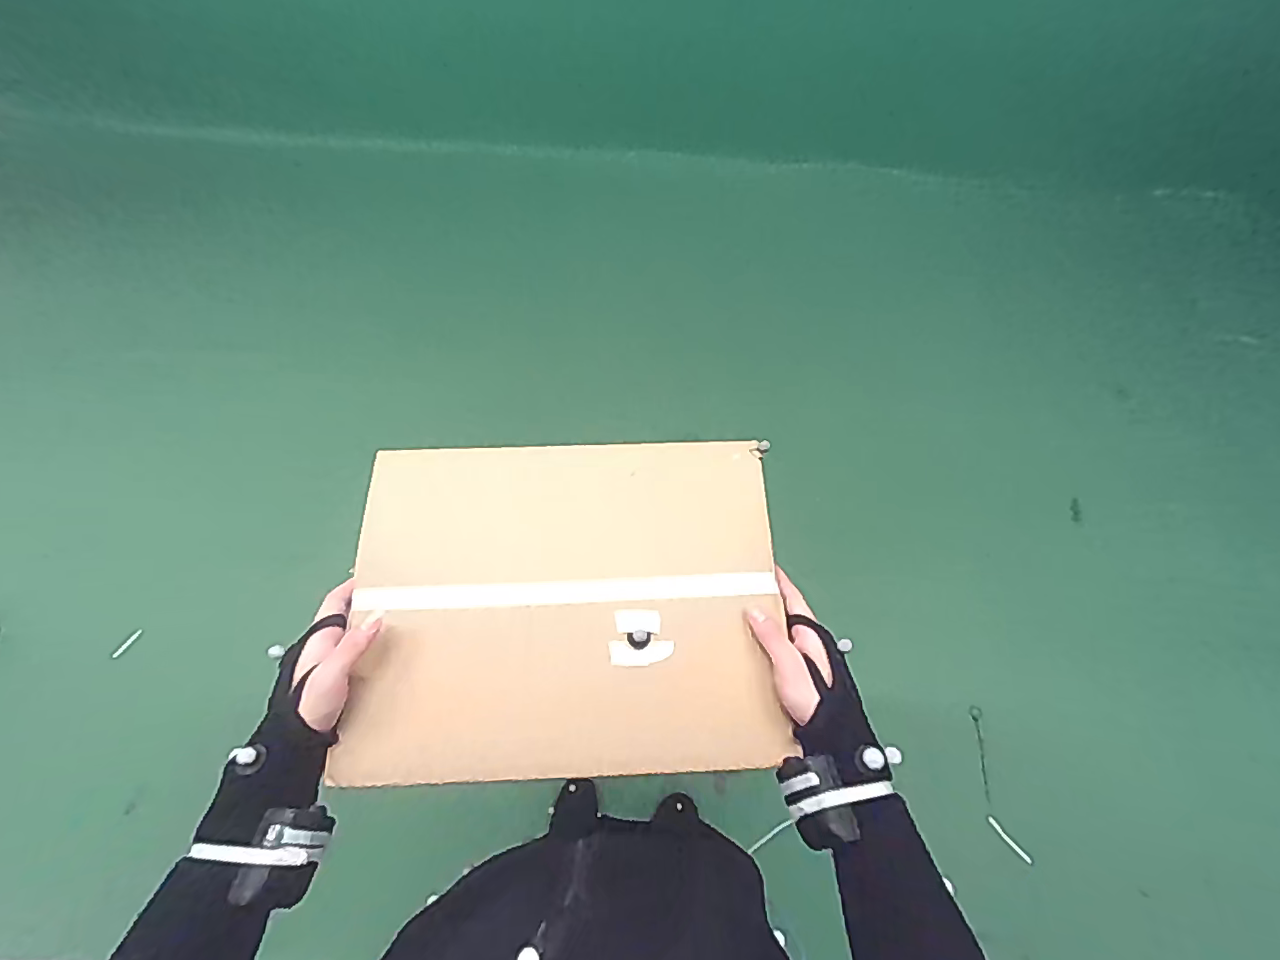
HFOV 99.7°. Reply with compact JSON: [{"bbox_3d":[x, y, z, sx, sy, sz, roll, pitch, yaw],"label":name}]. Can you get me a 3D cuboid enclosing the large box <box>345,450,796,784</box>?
[{"bbox_3d":[-0.070,0.172,0.666,0.408,0.320,0.320,-1,67,-3],"label":"large box"}]
